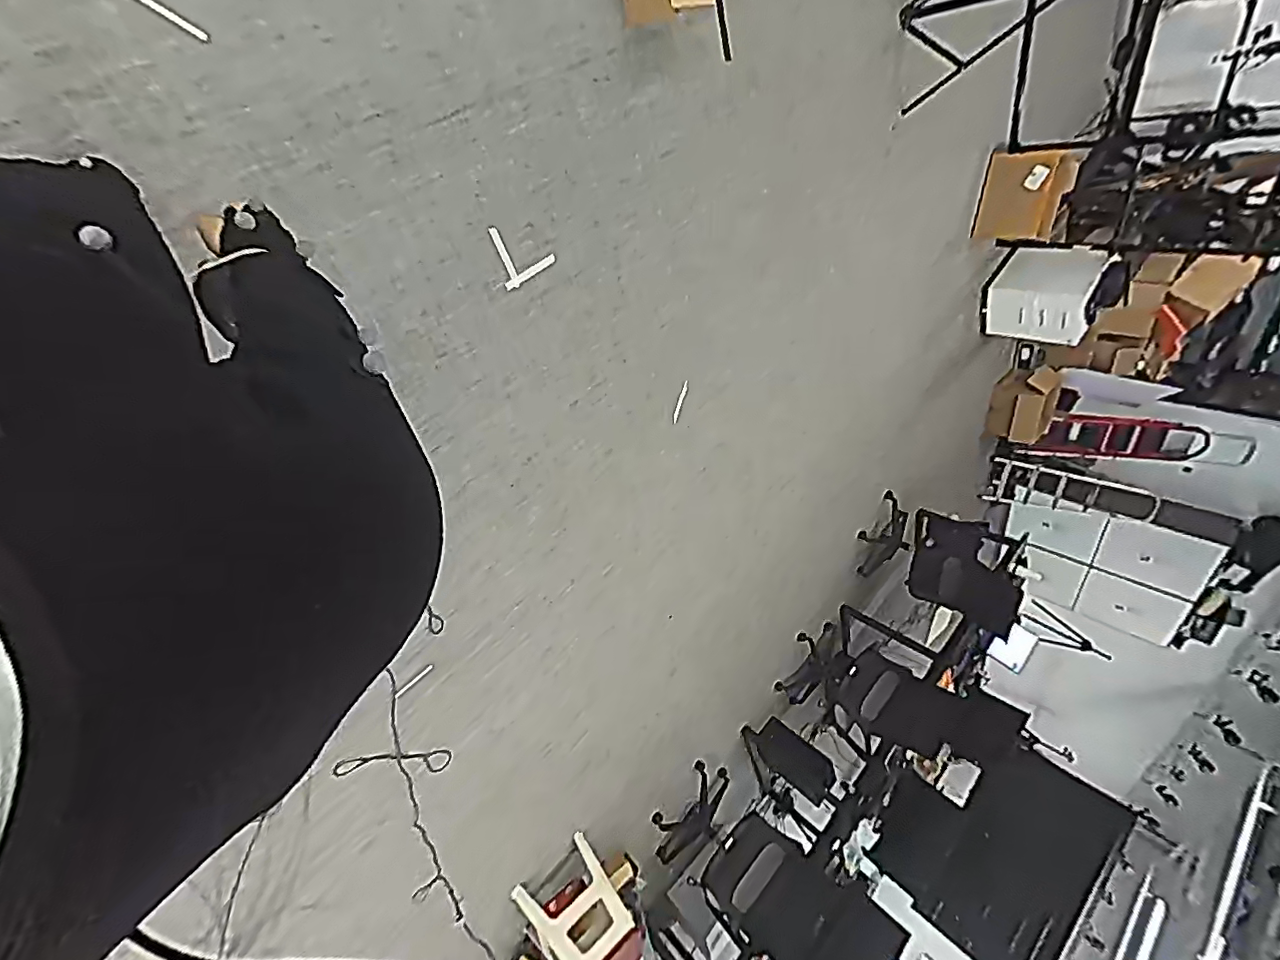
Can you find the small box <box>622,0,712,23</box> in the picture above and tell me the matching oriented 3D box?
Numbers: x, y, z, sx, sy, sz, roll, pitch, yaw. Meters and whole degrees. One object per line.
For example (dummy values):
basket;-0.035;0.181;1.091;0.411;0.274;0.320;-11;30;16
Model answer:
small box;0.058;-1.298;1.384;0.179;0.176;0.168;-35;130;-30
